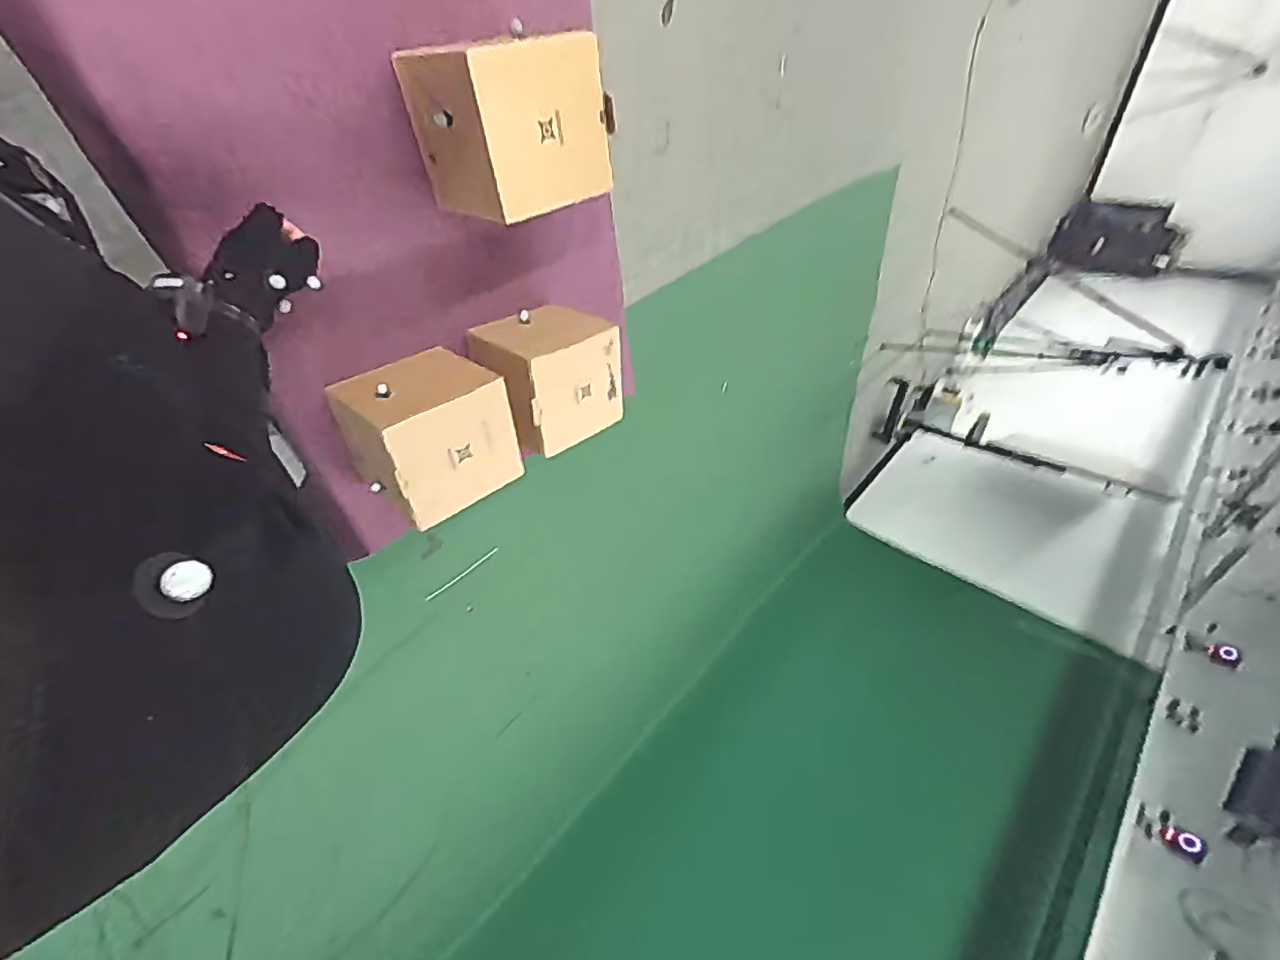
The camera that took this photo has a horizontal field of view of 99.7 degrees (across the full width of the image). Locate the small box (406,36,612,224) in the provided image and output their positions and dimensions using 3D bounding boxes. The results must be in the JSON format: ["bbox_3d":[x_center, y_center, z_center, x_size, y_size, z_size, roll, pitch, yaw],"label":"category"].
[{"bbox_3d":[-0.163,-0.435,0.675,0.179,0.176,0.168,-38,139,-31],"label":"small box"}]

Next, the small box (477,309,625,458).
[{"bbox_3d":[-0.146,-0.164,0.880,0.179,0.176,0.168,-31,136,-35],"label":"small box"}]
